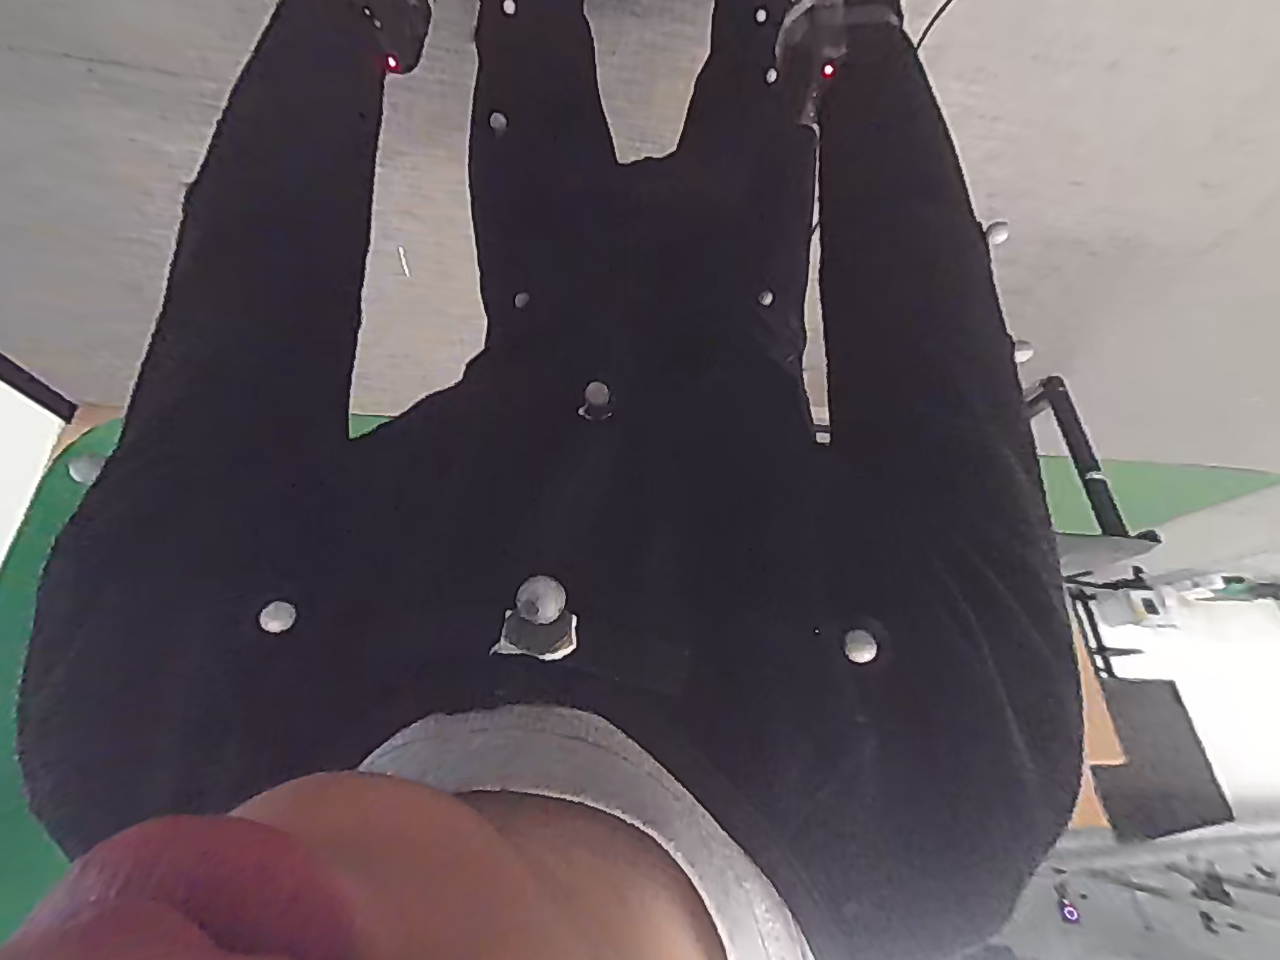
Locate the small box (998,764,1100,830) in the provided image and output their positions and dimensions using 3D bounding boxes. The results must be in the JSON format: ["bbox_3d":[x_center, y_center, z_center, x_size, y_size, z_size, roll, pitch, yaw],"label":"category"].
[{"bbox_3d":[1.285,1.003,1.720,0.168,0.176,0.179,6,150,-14],"label":"small box"}]
